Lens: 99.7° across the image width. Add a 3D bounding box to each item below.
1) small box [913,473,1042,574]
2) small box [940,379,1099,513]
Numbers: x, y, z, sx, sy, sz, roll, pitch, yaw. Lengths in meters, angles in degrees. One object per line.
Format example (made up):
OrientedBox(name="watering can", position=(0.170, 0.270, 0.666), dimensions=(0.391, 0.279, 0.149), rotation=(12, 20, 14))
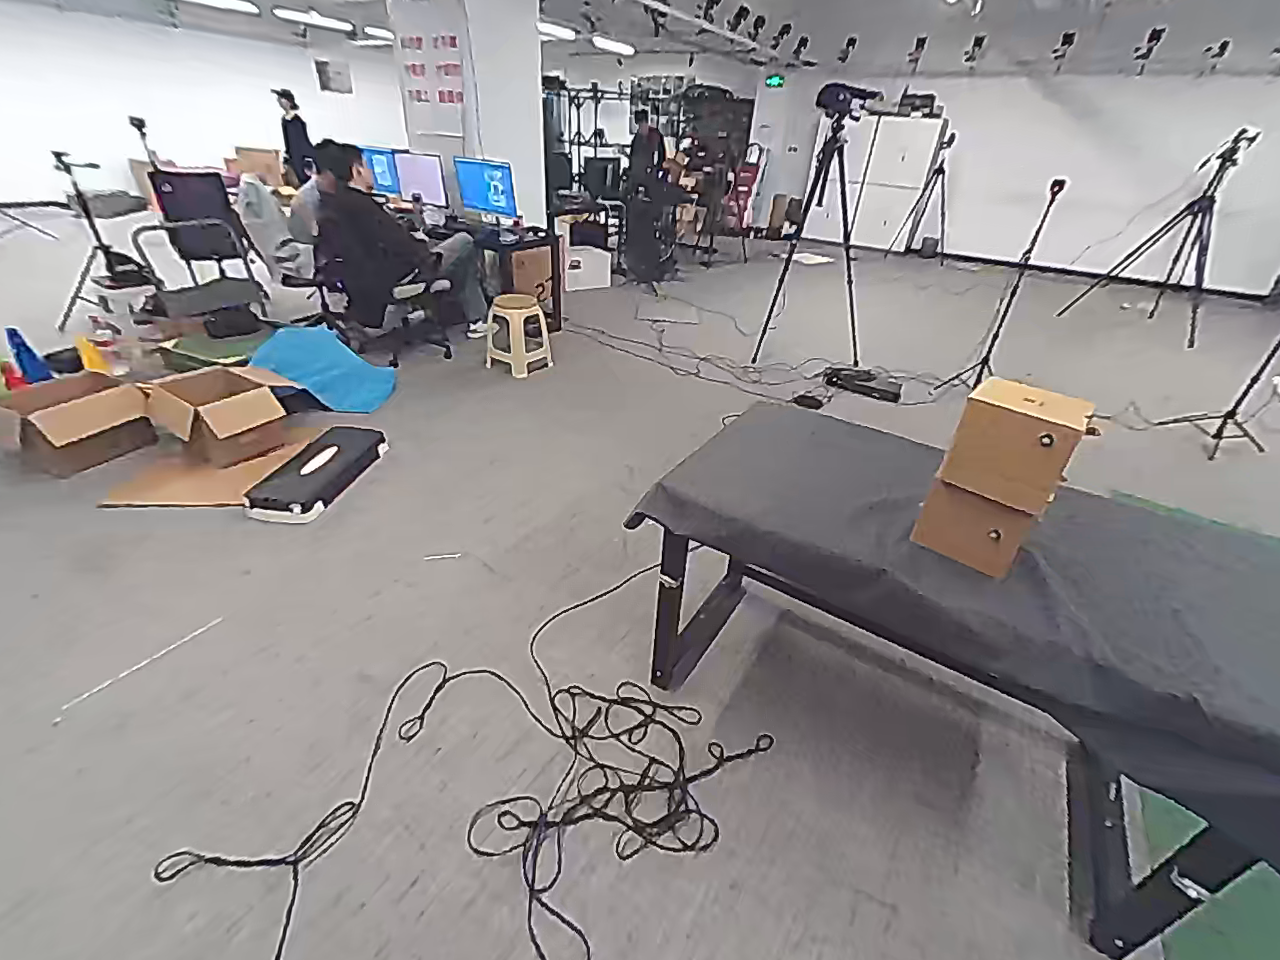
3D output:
OrientedBox(name="small box", position=(0.682, 0.065, 1.082), dimensions=(0.179, 0.176, 0.168), rotation=(26, 37, 33))
OrientedBox(name="small box", position=(0.679, -0.065, 0.981), dimensions=(0.179, 0.176, 0.168), rotation=(29, 39, 33))
